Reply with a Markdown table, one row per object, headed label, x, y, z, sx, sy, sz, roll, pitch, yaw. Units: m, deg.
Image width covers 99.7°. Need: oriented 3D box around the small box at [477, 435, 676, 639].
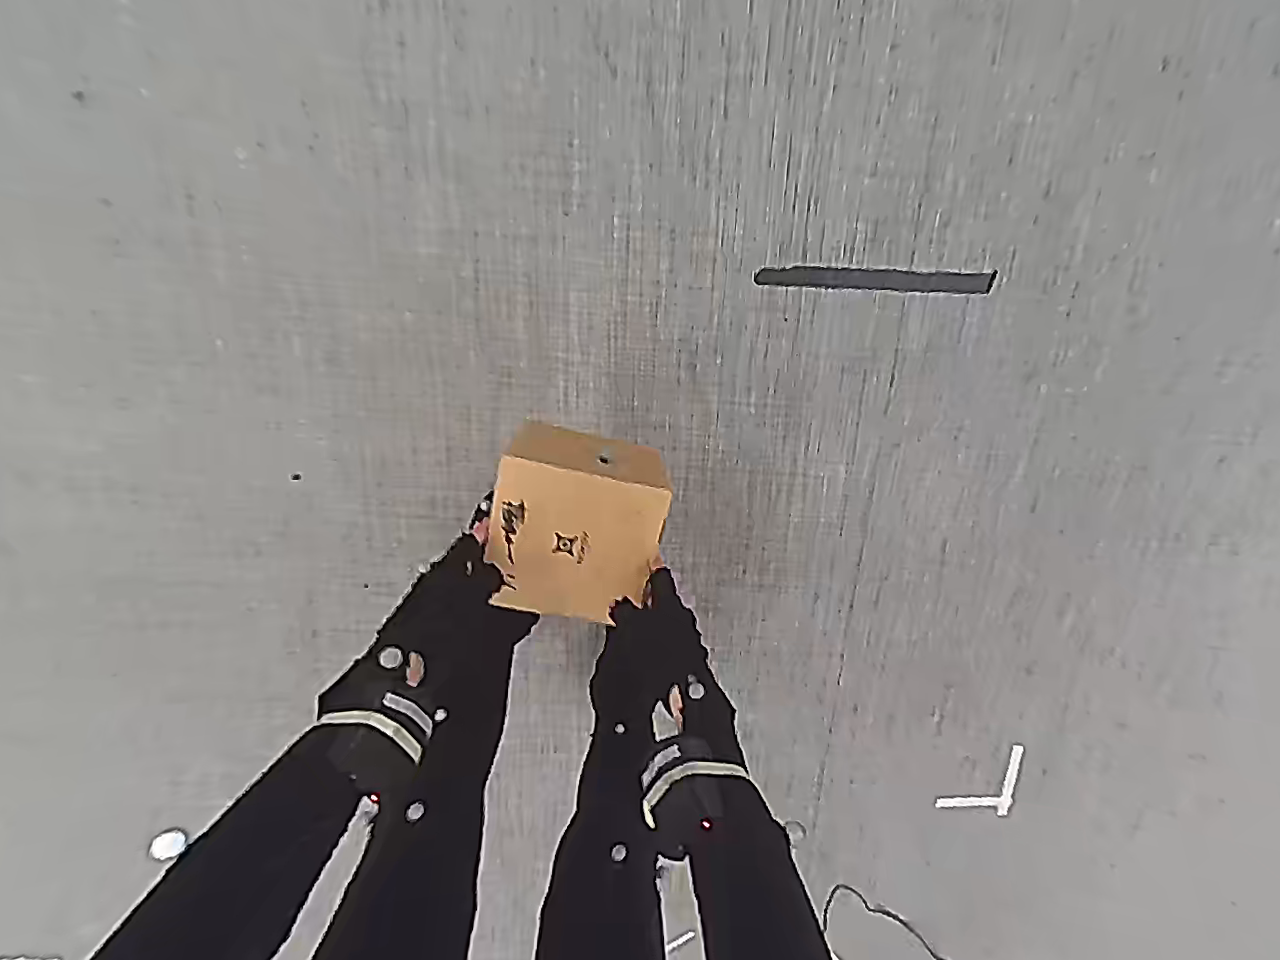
| label | x | y | z | sx | sy | sz | roll | pitch | yaw |
| --- | --- | --- | --- | --- | --- | --- | --- | --- | --- |
| small box | -0.074 | 0.056 | 0.625 | 0.179 | 0.176 | 0.168 | 12 | 106 | -9 |
